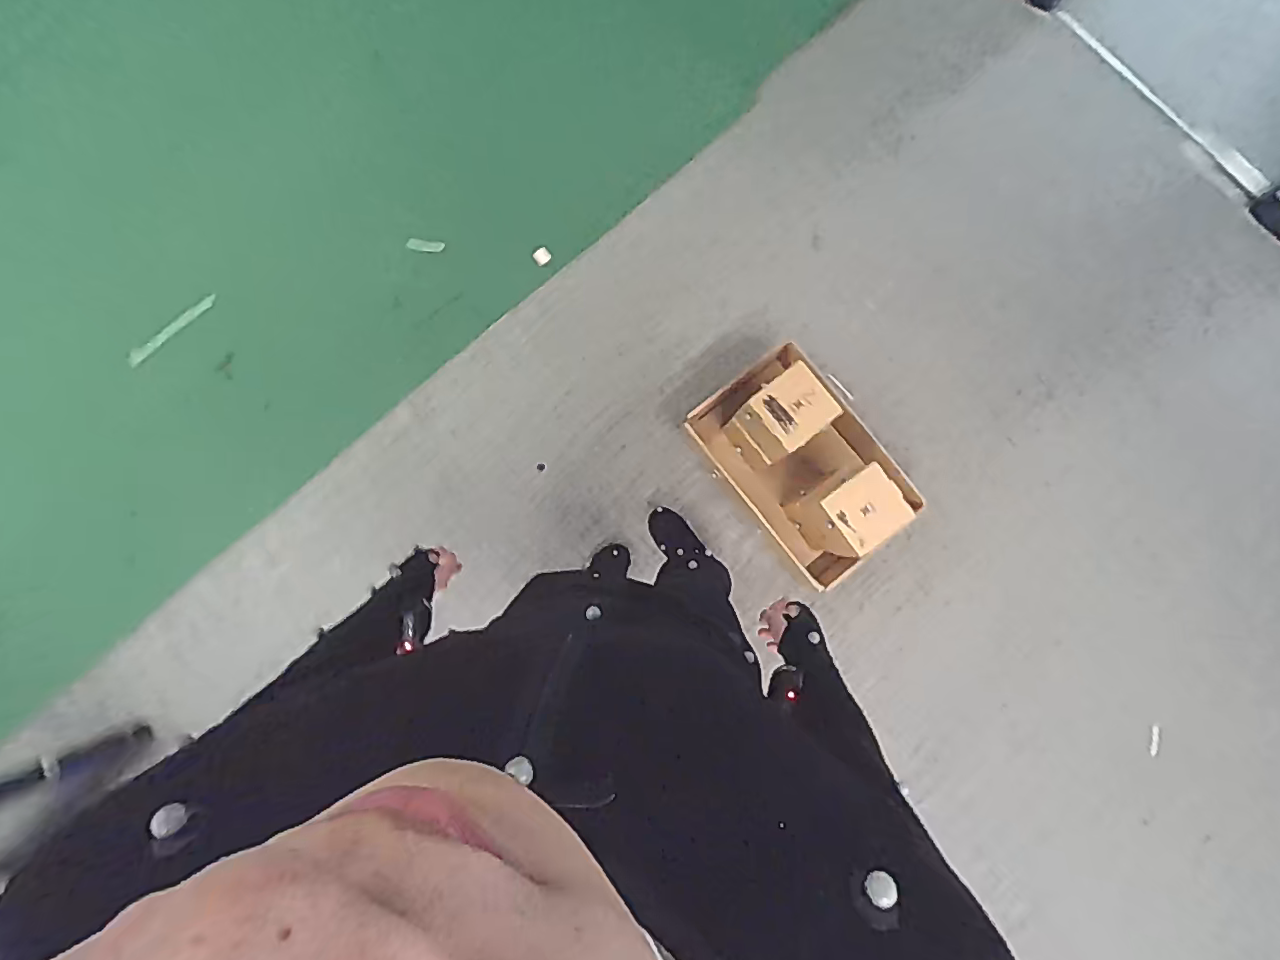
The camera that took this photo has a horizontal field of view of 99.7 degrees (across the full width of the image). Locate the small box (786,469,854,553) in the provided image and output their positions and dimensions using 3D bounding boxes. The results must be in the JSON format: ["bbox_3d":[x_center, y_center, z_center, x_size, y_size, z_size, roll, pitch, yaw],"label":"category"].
[{"bbox_3d":[0.546,0.089,1.529,0.179,0.176,0.168,-36,86,-4],"label":"small box"}]

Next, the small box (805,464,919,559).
[{"bbox_3d":[0.550,0.081,1.365,0.179,0.176,0.168,-35,86,-4],"label":"small box"}]

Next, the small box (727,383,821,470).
[{"bbox_3d":[0.374,-0.146,1.546,0.179,0.176,0.168,-37,86,-5],"label":"small box"}]
